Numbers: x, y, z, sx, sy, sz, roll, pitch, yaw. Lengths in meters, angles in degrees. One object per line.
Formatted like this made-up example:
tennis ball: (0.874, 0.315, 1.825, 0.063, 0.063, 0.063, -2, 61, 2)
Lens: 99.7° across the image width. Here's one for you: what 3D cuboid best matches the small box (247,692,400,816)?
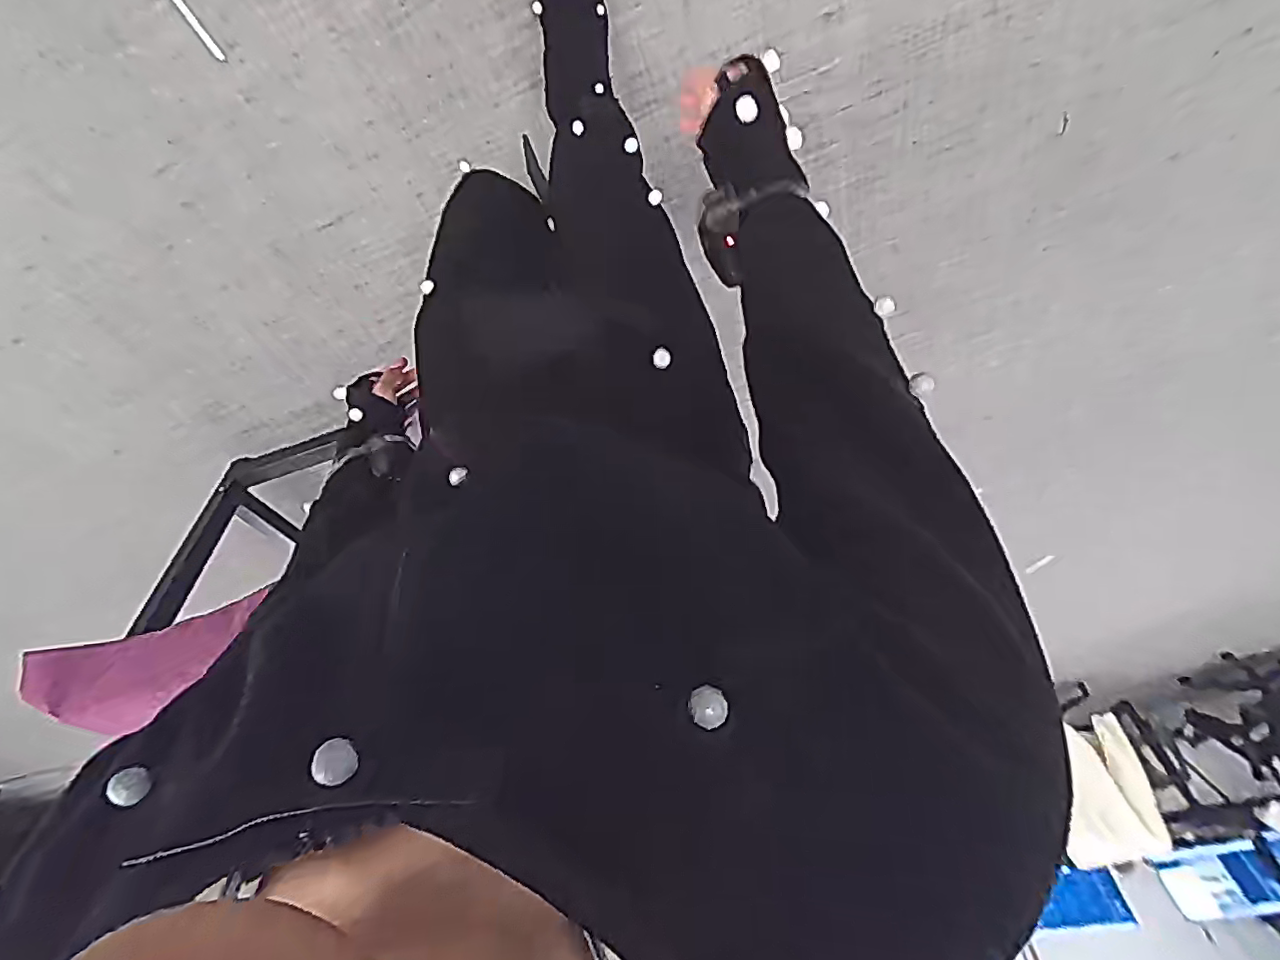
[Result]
small box: (-0.603, 0.536, 1.056, 0.179, 0.176, 0.168, -17, 138, 11)
